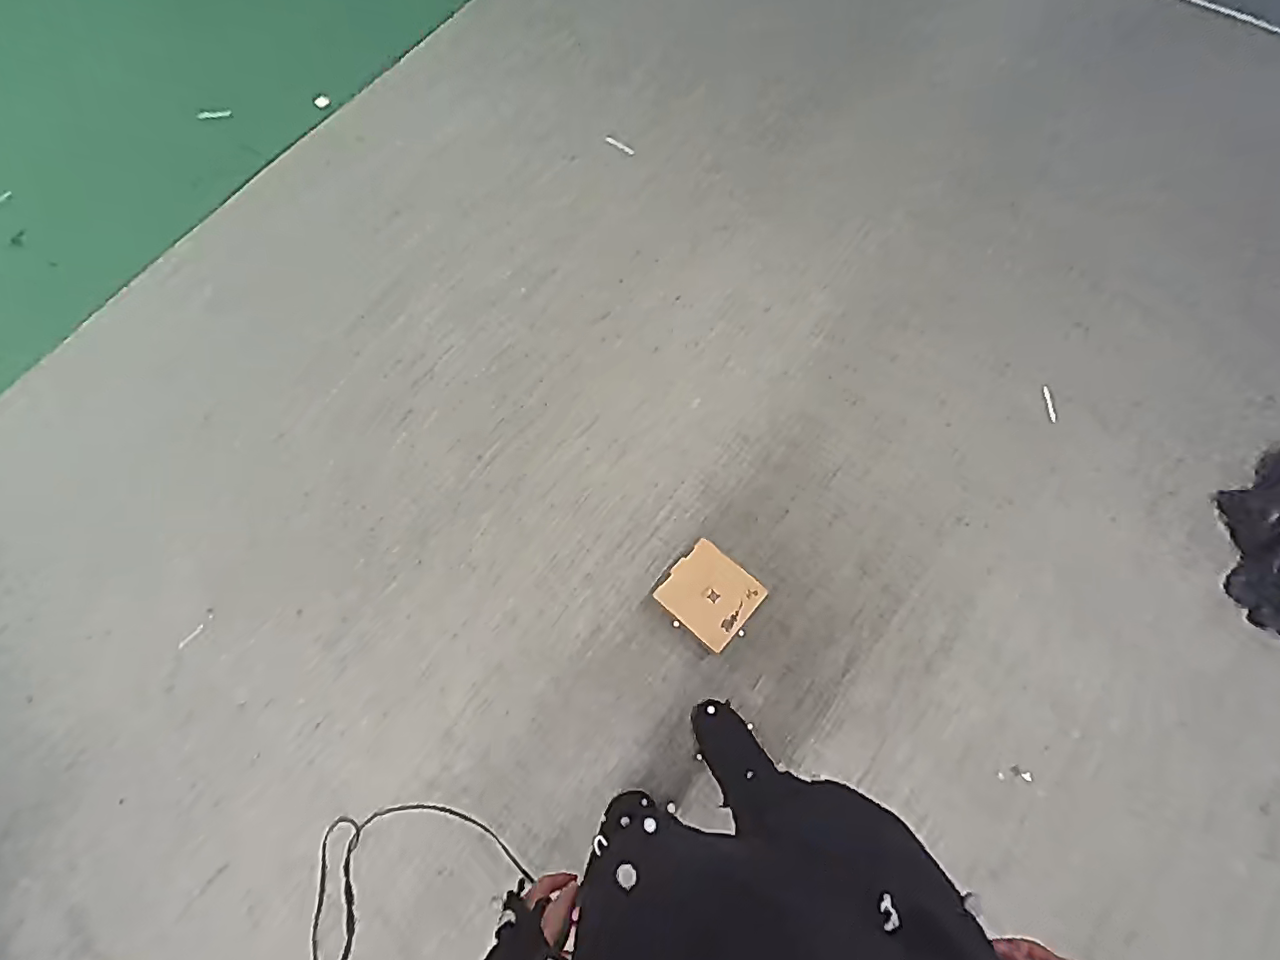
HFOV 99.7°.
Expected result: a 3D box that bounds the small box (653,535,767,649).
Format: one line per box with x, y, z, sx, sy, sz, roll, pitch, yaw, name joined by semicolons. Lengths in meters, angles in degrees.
0.146;0.249;1.171;0.179;0.176;0.168;40;79;15;small box
